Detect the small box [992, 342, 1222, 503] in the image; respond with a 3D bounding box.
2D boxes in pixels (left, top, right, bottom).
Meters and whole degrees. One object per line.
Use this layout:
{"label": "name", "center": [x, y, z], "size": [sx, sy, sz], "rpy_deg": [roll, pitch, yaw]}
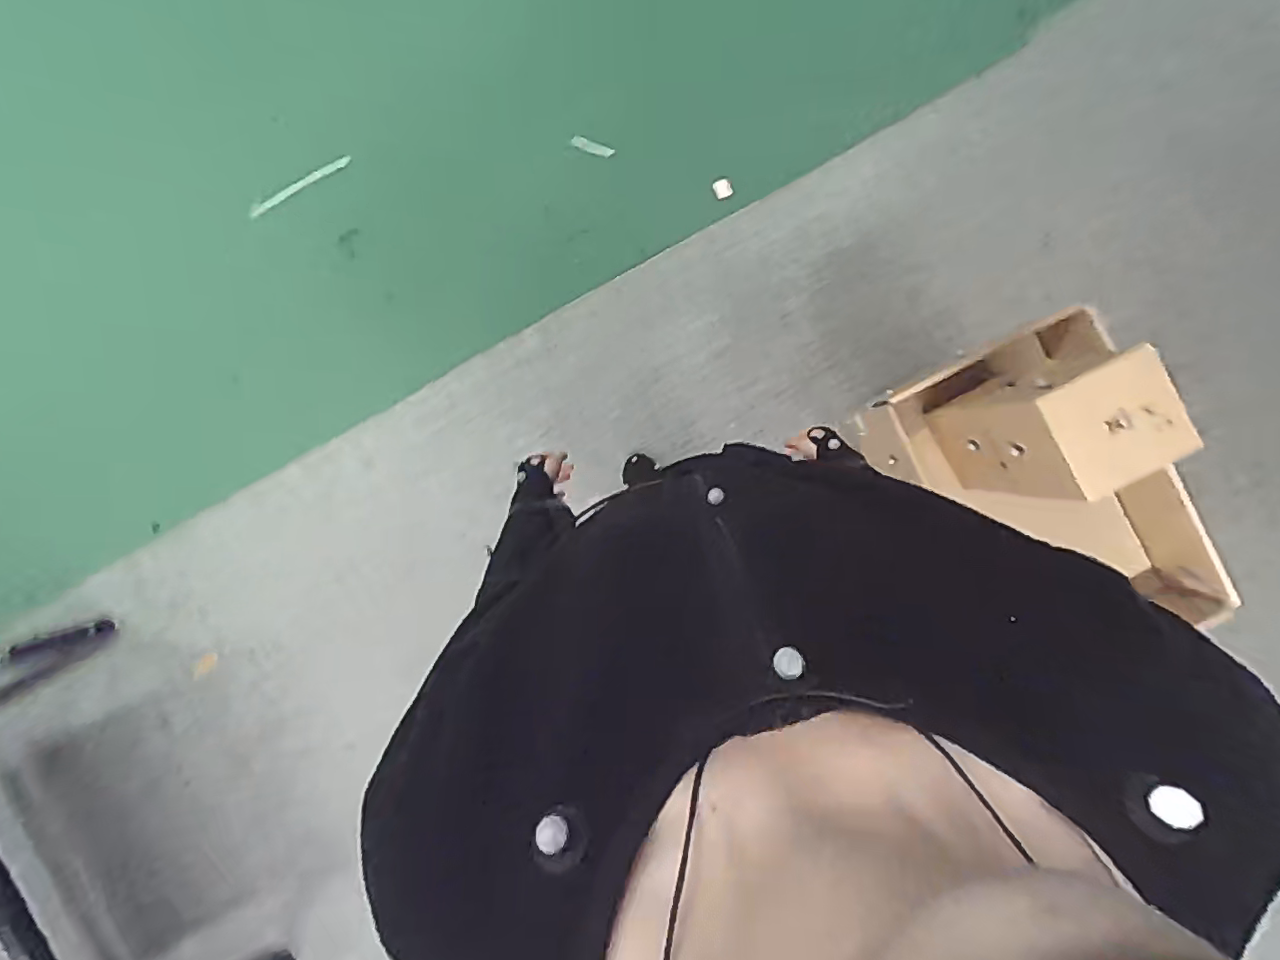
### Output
{"label": "small box", "center": [0.670, -0.077, 0.806], "size": [0.179, 0.176, 0.168], "rpy_deg": [-27, 91, 3]}
